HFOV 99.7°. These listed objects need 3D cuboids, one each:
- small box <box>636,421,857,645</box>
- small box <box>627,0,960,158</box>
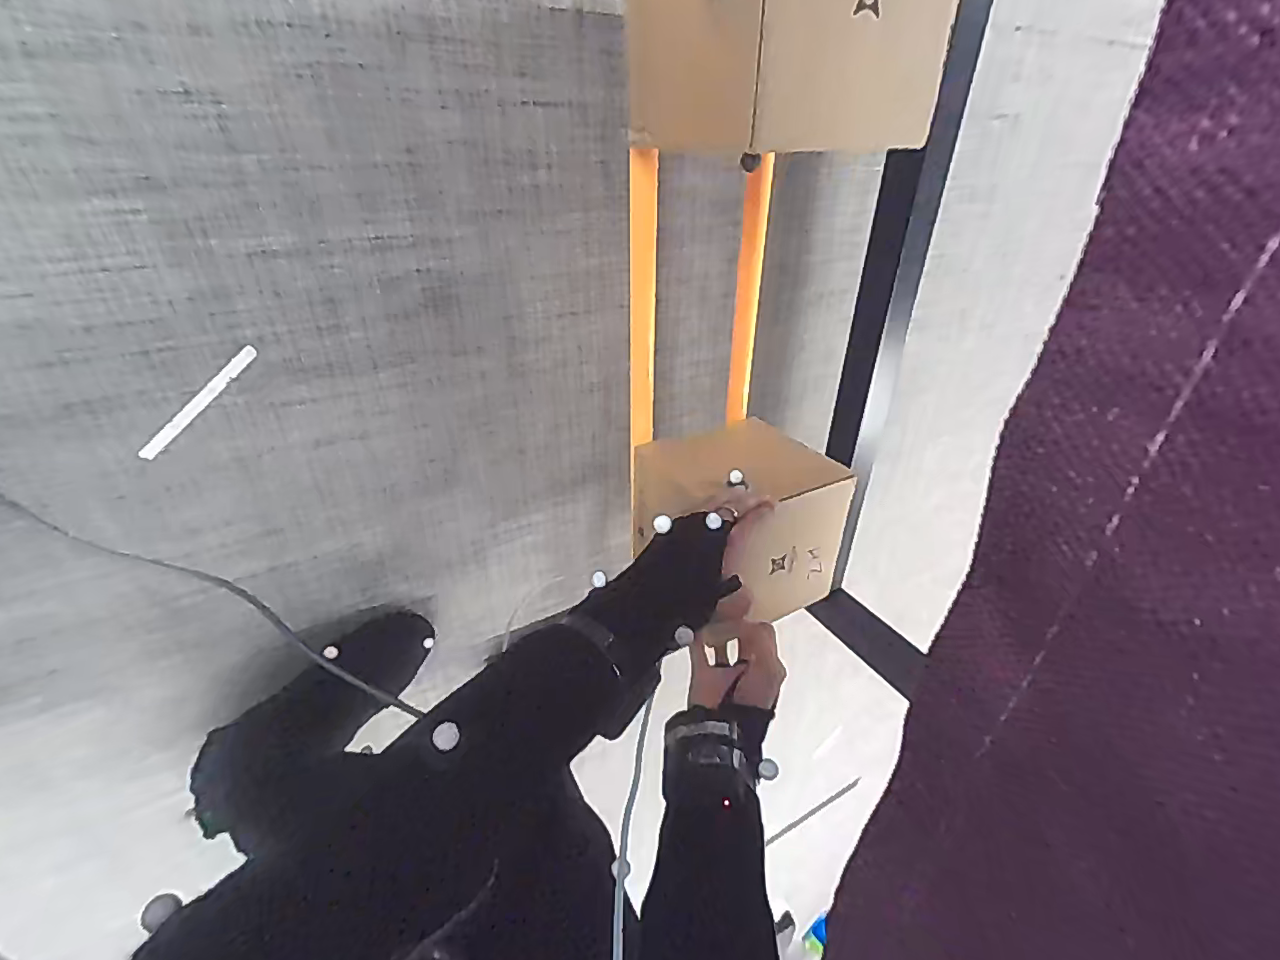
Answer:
[{"bbox_3d":[0.107,0.047,0.617,0.179,0.176,0.168,-15,124,-25],"label":"small box"},{"bbox_3d":[0.099,-0.334,0.383,0.168,0.176,0.179,-17,126,-23],"label":"small box"}]
